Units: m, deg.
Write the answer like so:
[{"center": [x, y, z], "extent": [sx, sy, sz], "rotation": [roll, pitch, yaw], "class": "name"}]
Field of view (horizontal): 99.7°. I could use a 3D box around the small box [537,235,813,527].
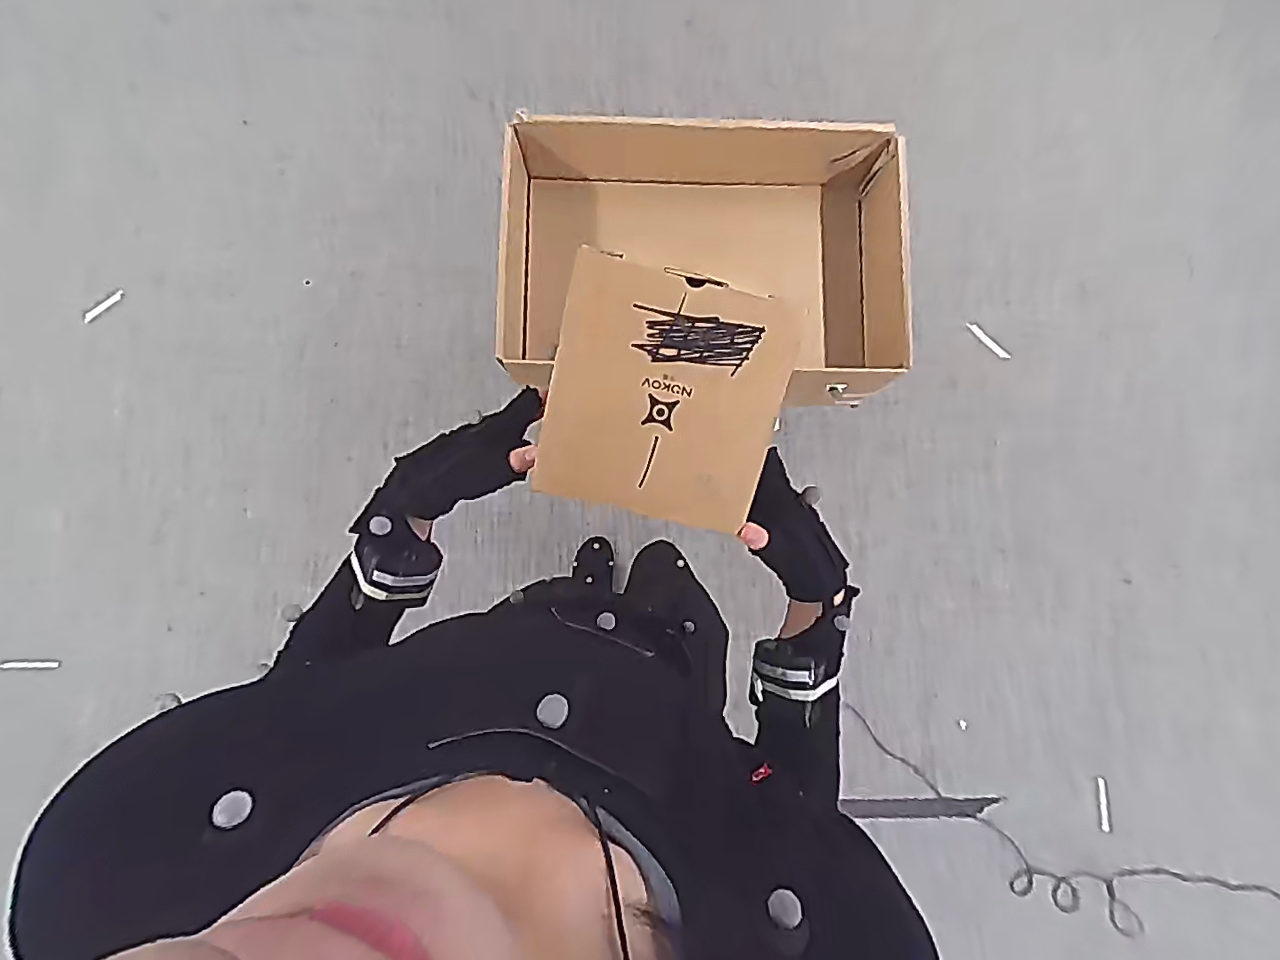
[{"center": [0.020, -0.081, 0.461], "extent": [0.168, 0.176, 0.179], "rotation": [13, 102, -4], "class": "small box"}]
